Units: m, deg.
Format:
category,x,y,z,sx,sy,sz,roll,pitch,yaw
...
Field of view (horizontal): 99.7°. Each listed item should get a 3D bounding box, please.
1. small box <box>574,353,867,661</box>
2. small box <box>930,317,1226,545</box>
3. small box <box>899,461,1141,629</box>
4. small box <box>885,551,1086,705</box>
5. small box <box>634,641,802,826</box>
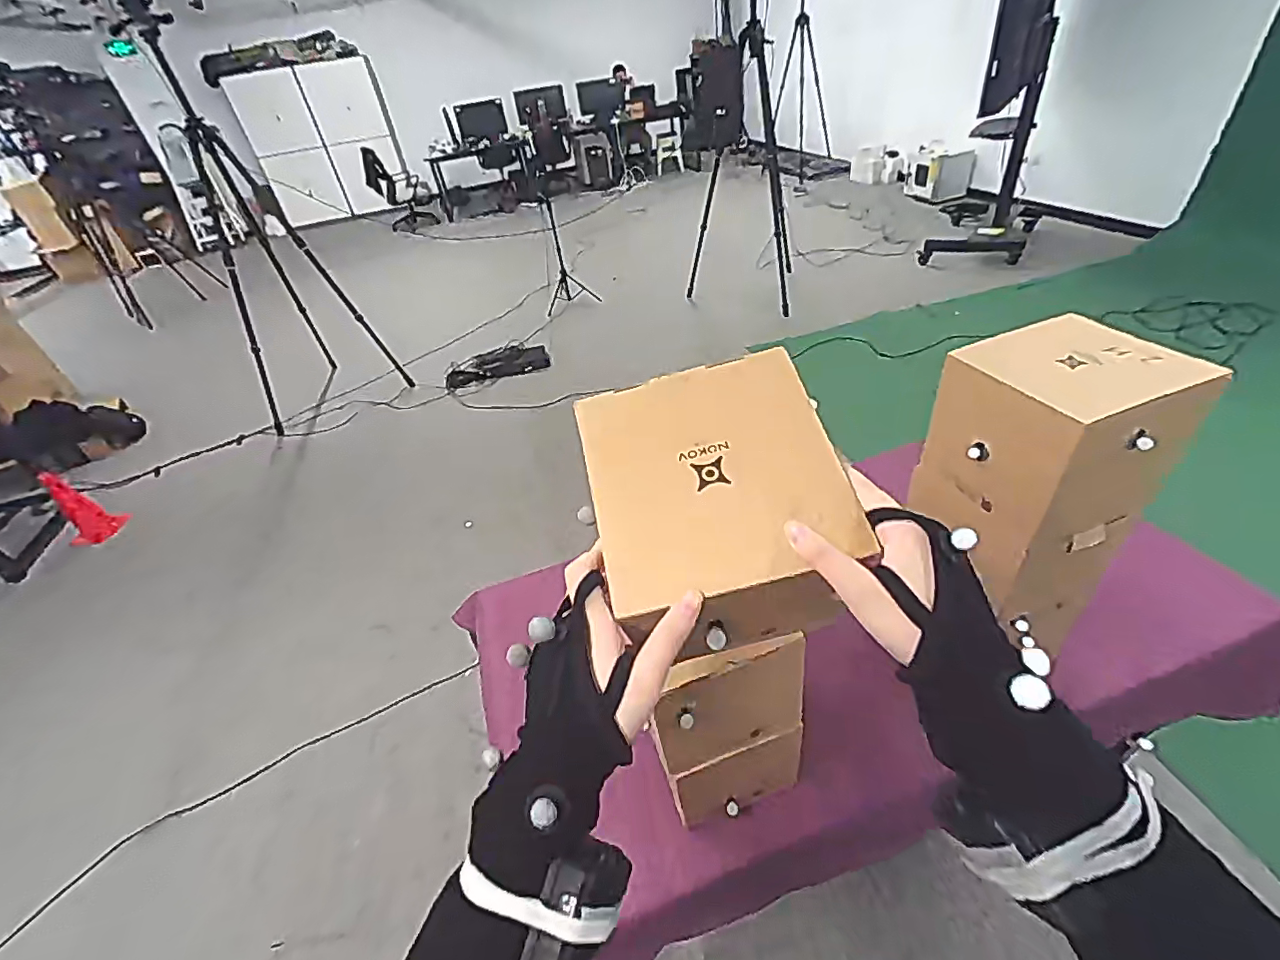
category,x,y,z,sx,sy,sz,roll,pitch,yaw
small box,0.058,0.035,0.438,0.168,0.176,0.179,-16,58,1
small box,0.452,-0.054,0.598,0.179,0.176,0.168,-17,40,-9
small box,0.472,0.070,0.706,0.168,0.176,0.179,-18,39,-10
small box,0.494,0.197,0.808,0.168,0.176,0.179,-19,39,-9
small box,0.101,0.327,0.738,0.168,0.176,0.179,-18,40,-8
